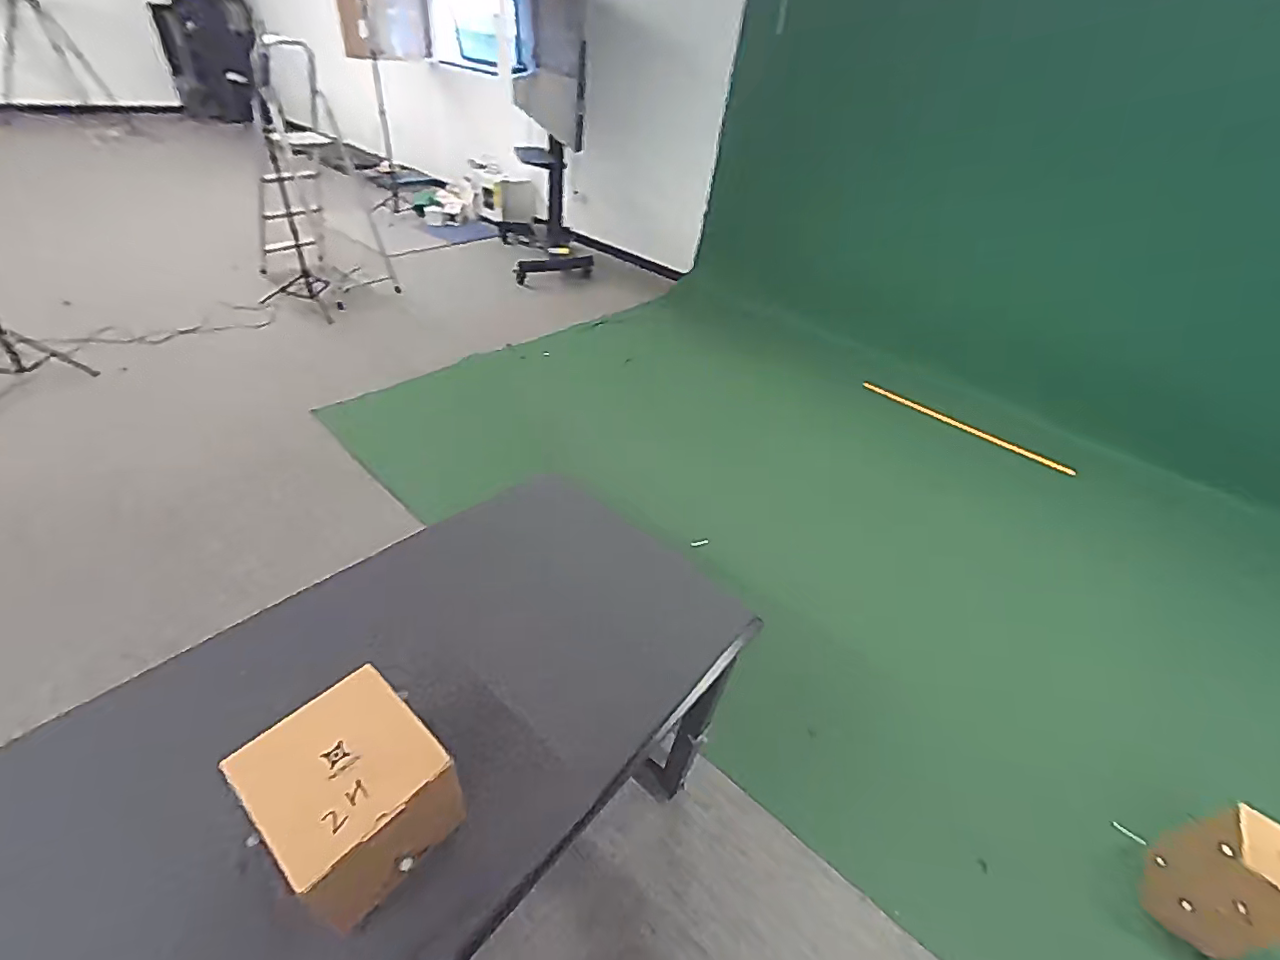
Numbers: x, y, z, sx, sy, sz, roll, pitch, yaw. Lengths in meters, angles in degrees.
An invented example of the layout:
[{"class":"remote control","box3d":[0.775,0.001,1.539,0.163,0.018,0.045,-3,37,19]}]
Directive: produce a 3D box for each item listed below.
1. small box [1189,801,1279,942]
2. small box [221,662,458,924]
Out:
[{"class":"small box","box3d":[1.403,0.886,1.227,0.168,0.176,0.179,32,44,26]},{"class":"small box","box3d":[-0.334,0.359,0.628,0.179,0.176,0.168,32,44,26]}]
